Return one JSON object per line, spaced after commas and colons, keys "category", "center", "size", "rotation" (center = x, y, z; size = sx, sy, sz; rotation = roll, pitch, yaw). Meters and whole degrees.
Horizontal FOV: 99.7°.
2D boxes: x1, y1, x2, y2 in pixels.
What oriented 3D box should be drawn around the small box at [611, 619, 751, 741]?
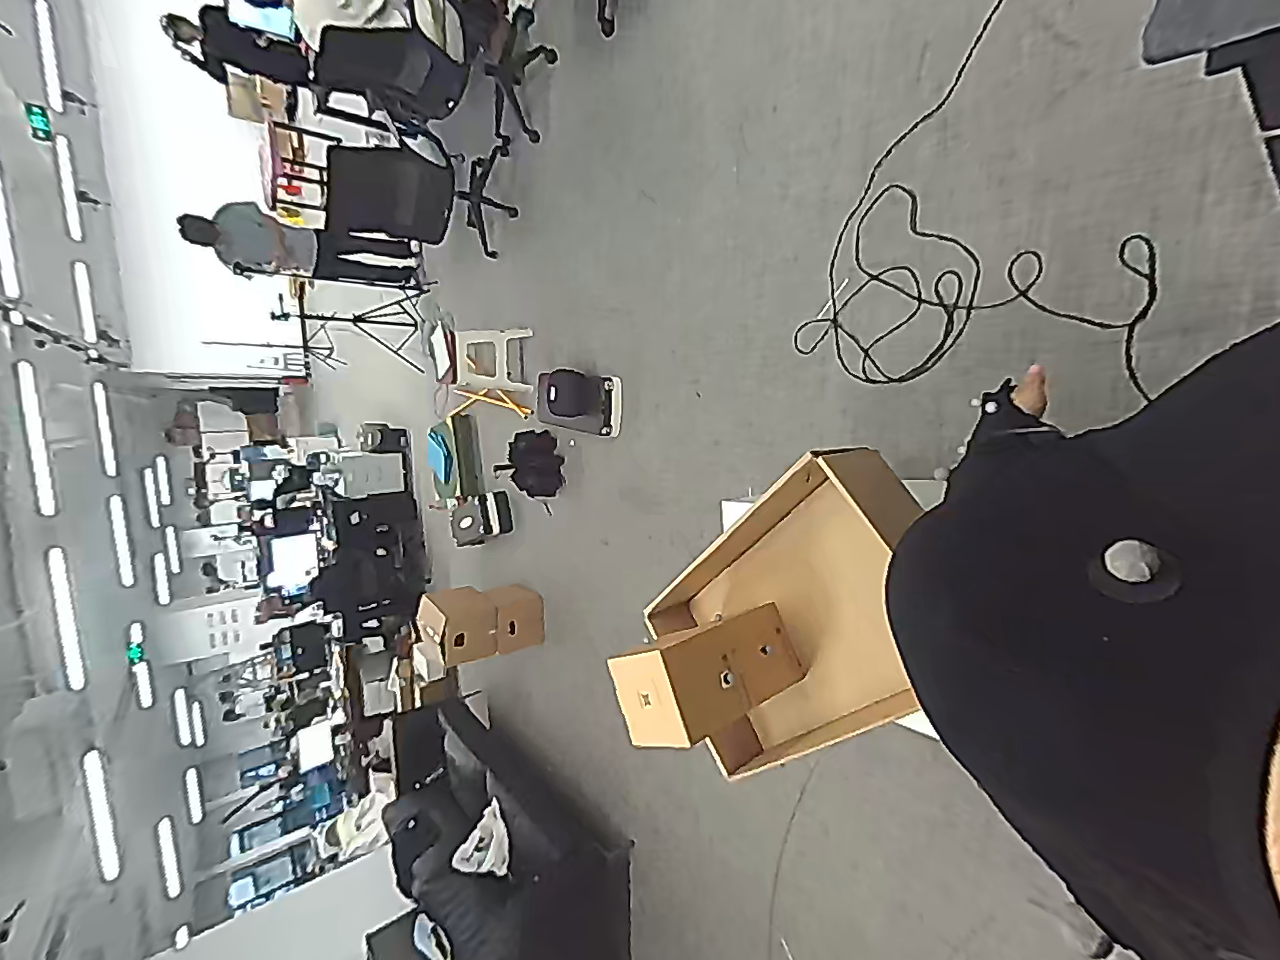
{"category": "small box", "center": [0.077, 0.377, 1.028], "size": [0.179, 0.176, 0.168], "rotation": [-32, 73, 48]}
